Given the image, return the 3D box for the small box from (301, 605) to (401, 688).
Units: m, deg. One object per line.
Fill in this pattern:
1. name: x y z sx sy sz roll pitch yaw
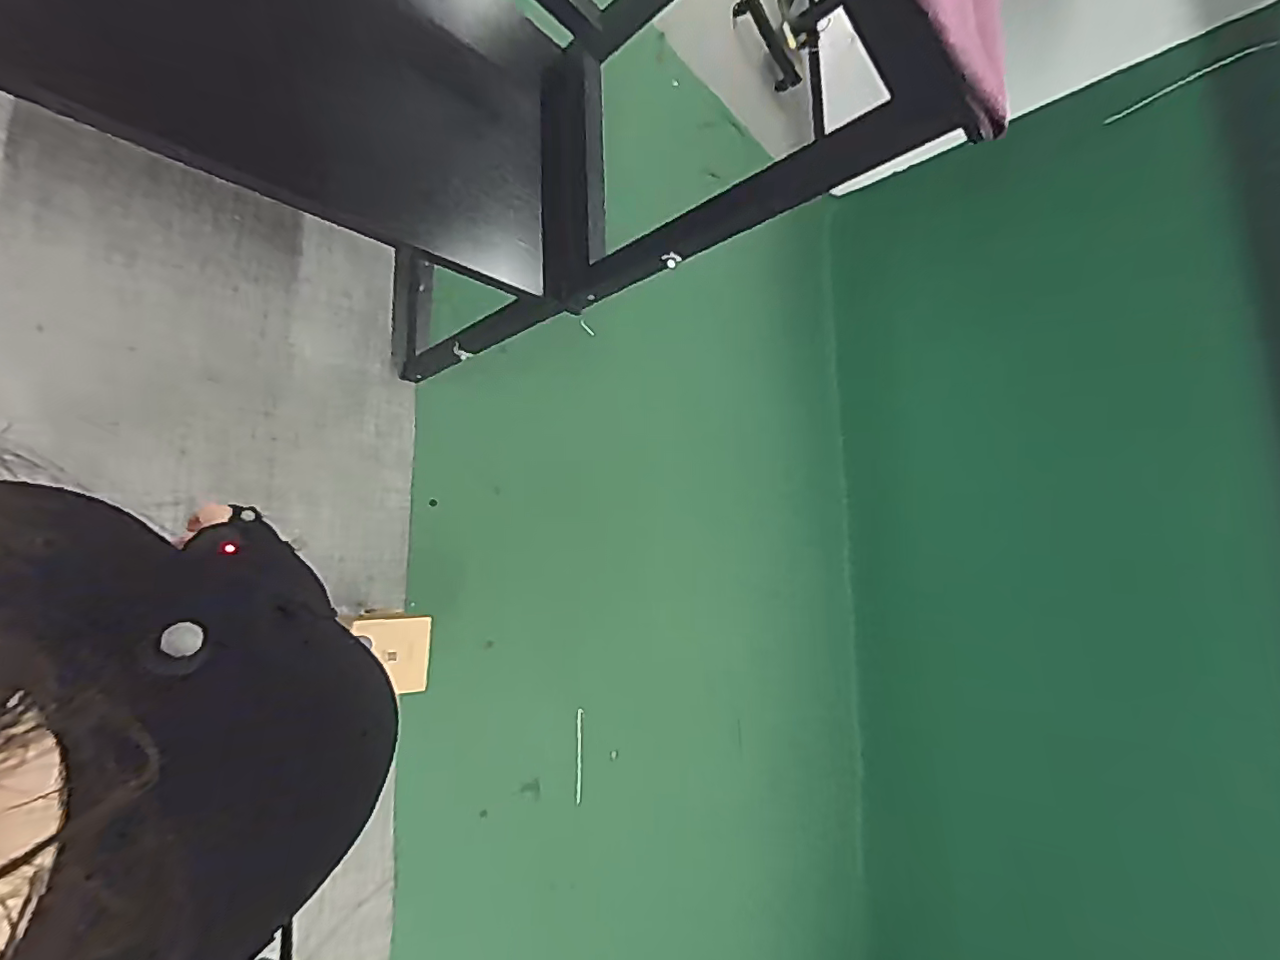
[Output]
1. small box: -0.717 0.403 1.342 0.168 0.176 0.179 12 77 -46

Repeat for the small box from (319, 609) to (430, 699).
1. small box: -0.604 0.387 1.228 0.179 0.176 0.168 10 78 -47
